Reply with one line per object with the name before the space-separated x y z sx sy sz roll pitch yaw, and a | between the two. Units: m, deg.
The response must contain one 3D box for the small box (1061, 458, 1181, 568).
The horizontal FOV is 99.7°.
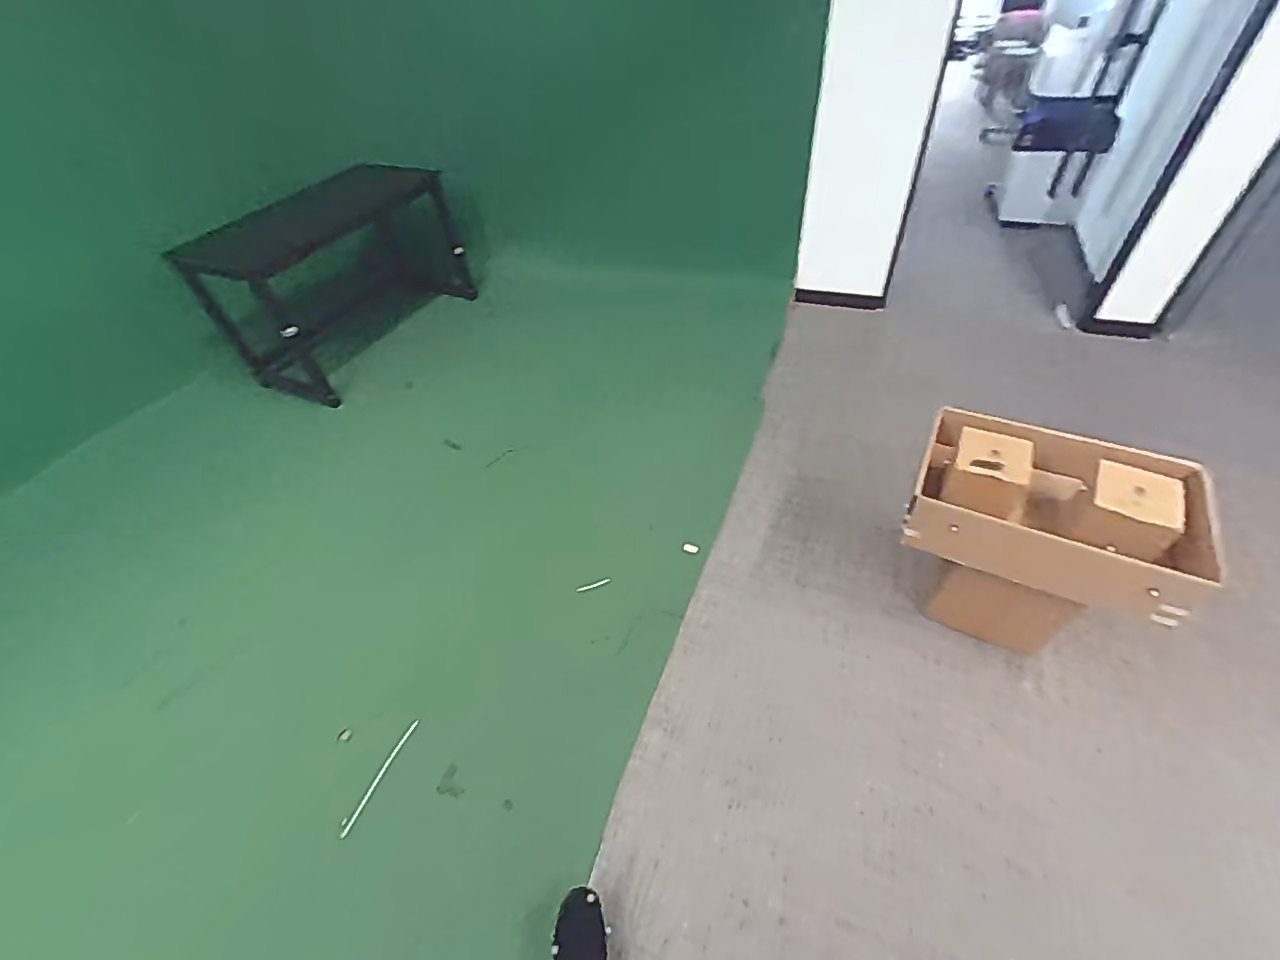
small box | 1.173 0.081 1.327 0.168 0.176 0.179 22 54 25
